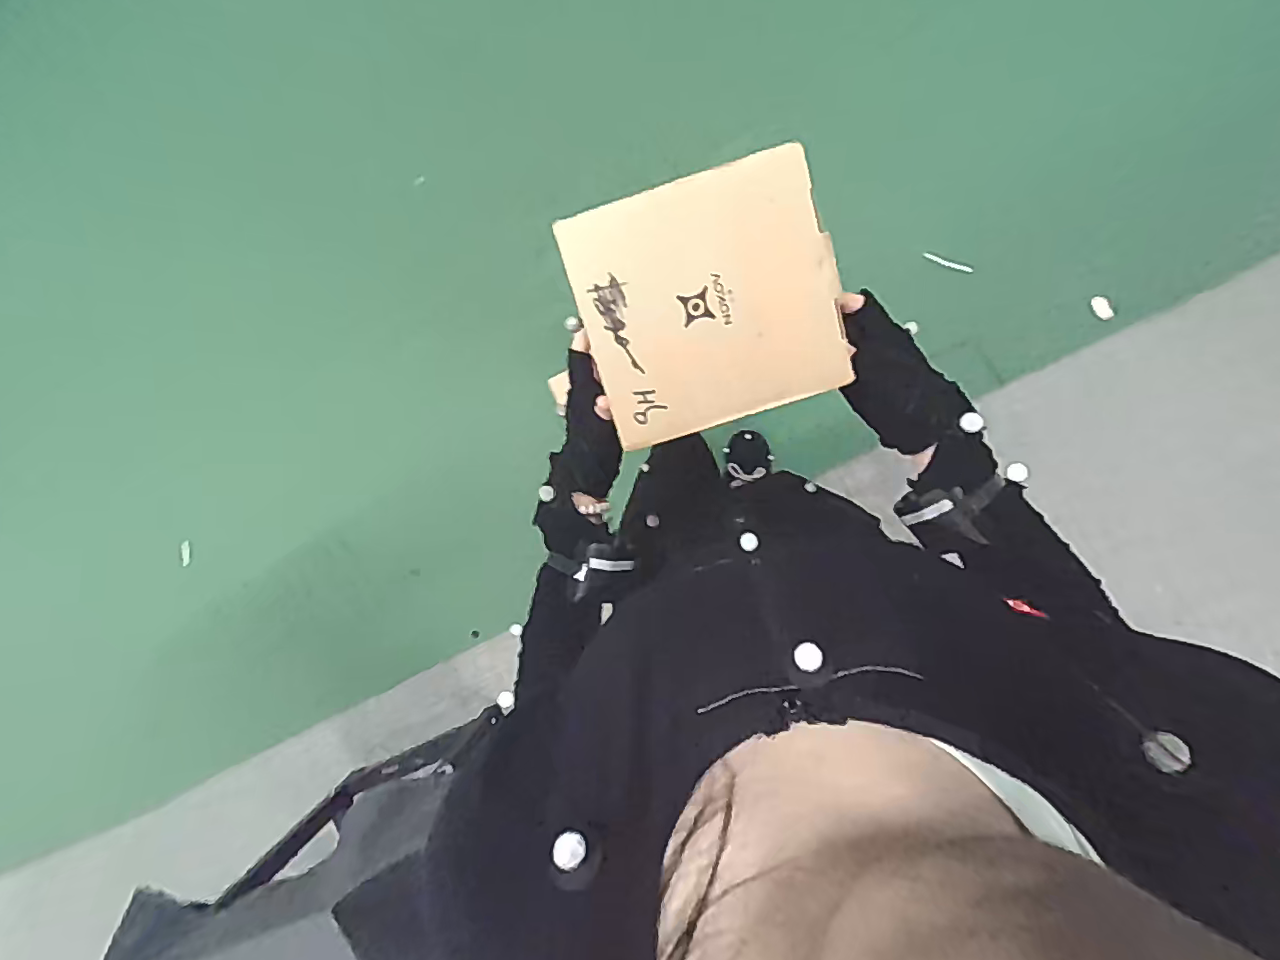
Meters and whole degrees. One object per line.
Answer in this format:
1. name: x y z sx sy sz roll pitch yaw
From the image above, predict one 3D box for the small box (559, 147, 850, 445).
1. small box: 0.046 -0.139 0.459 0.179 0.176 0.168 -17 99 2
